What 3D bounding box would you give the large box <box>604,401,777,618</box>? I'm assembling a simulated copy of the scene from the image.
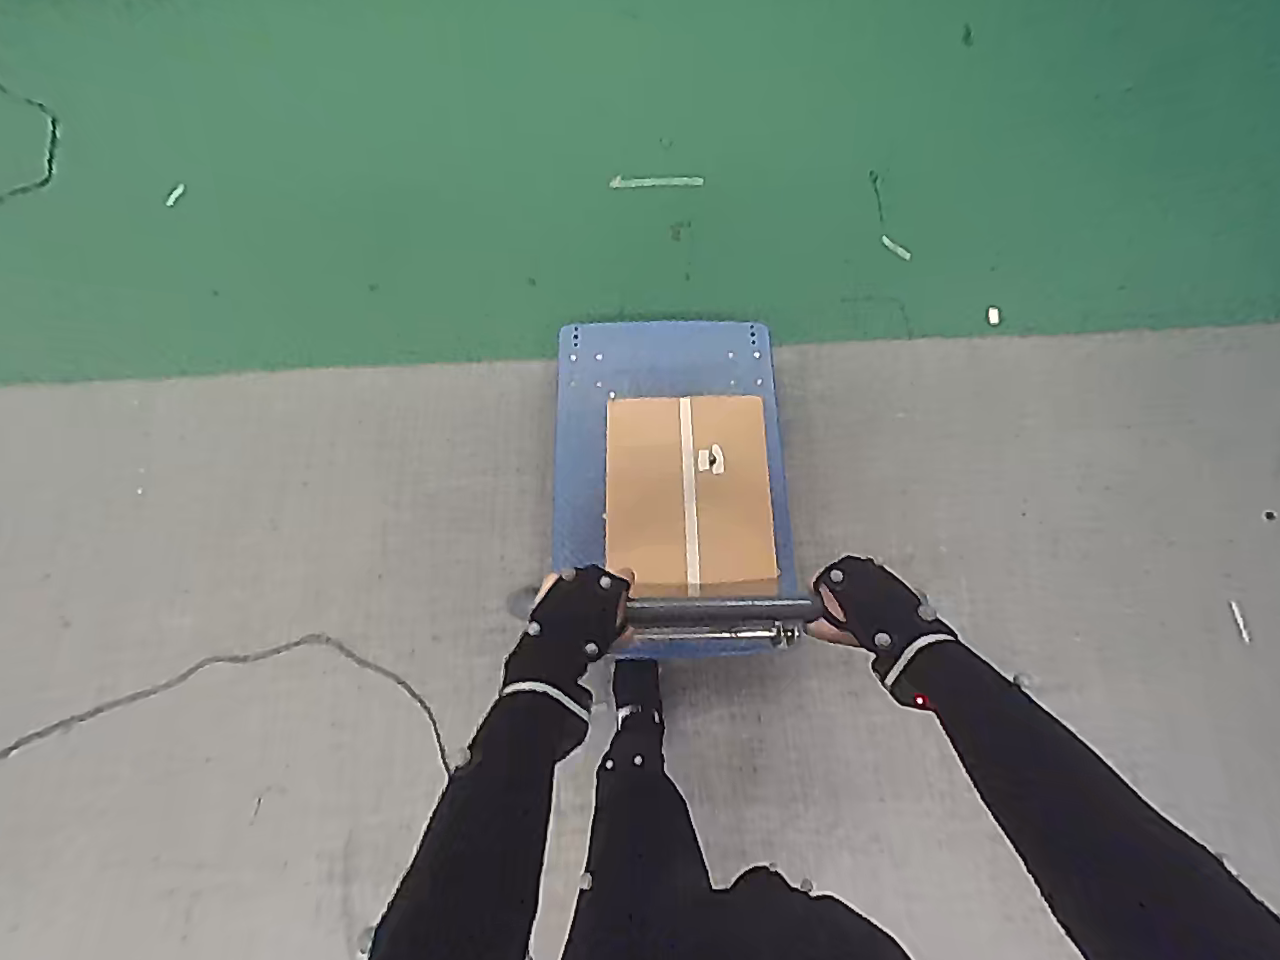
[{"bbox_3d":[0.090,0.081,1.175,0.320,0.320,0.408,-1,72,-1],"label":"large box"}]
